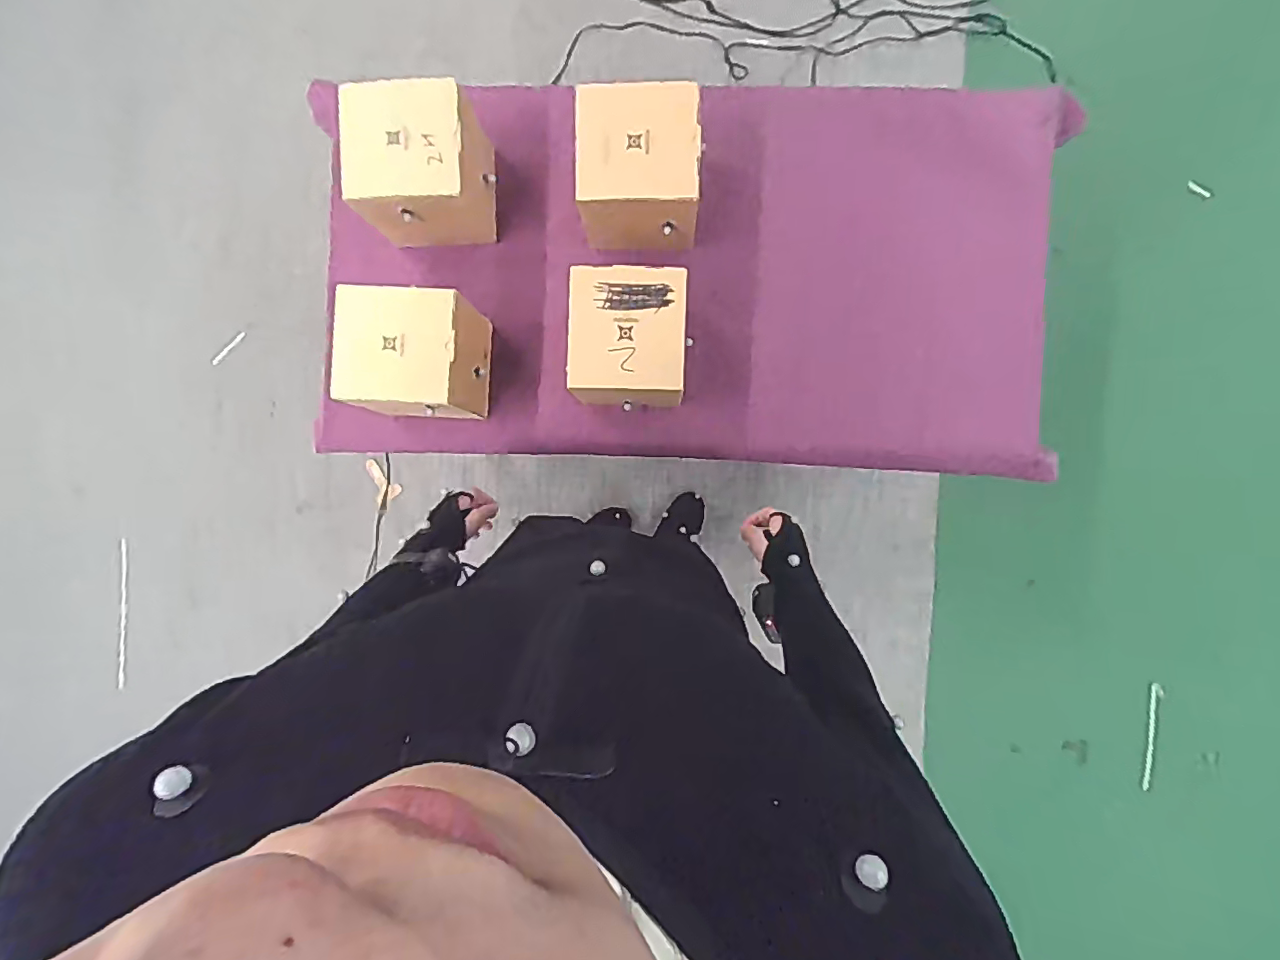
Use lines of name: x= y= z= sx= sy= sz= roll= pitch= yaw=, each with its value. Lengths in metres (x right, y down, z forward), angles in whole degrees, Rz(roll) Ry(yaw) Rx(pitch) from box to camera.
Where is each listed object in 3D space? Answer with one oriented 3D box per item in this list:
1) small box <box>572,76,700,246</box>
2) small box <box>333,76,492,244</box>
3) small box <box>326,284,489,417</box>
small box: x=-0.003 y=-0.473 z=0.823 sx=0.179 sy=0.176 sz=0.168 roll=1 pitch=91 yaw=3
small box: x=-0.341 y=-0.481 z=0.836 sx=0.179 sy=0.176 sz=0.168 roll=-1 pitch=91 yaw=2
small box: x=-0.351 y=-0.191 z=0.841 sx=0.179 sy=0.176 sz=0.168 roll=3 pitch=89 yaw=2
